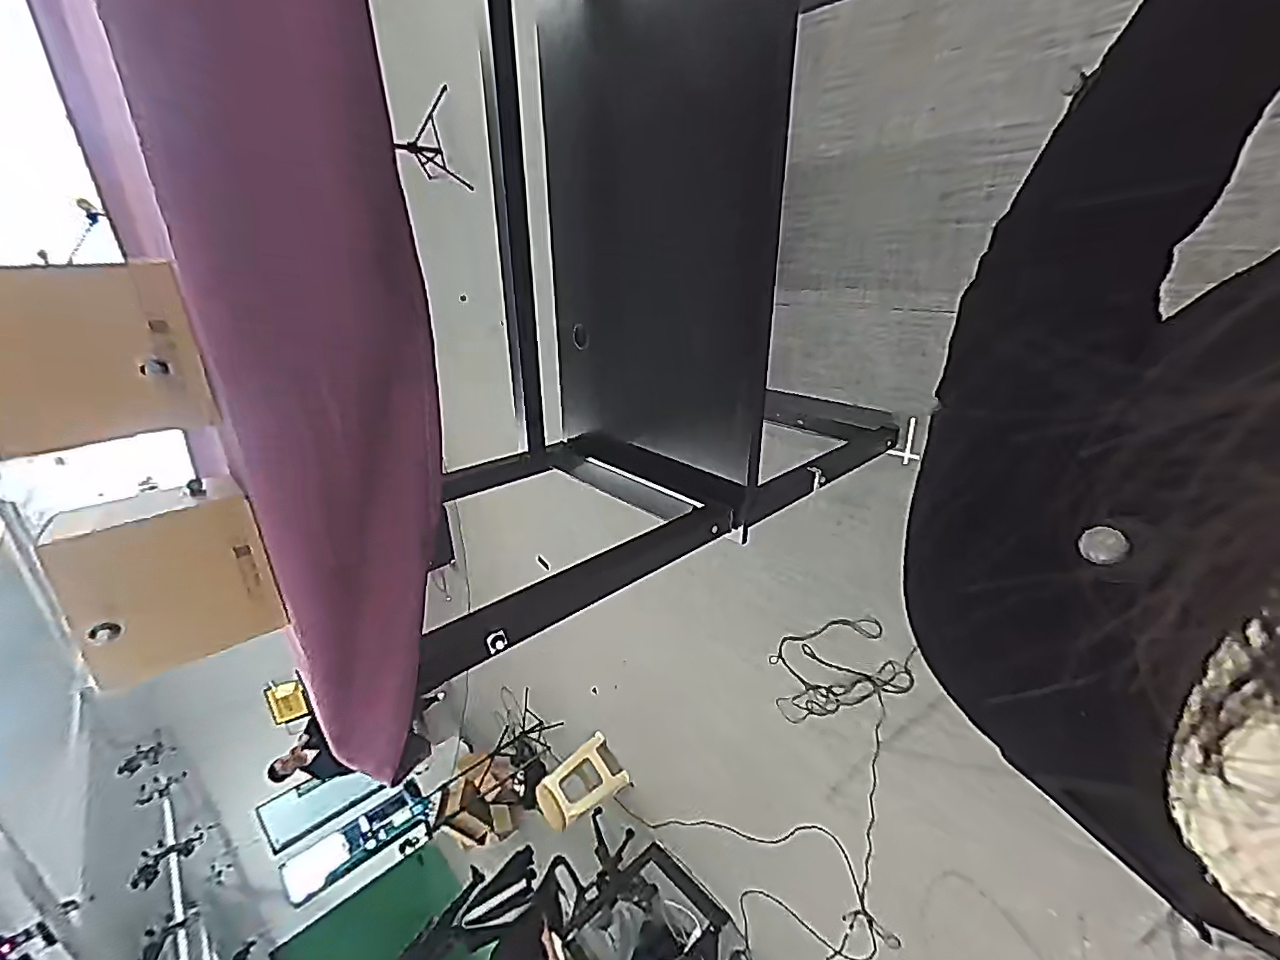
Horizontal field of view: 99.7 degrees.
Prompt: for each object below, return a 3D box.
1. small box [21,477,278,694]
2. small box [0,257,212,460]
[{"bbox_3d":[-0.539,0.101,0.618,0.179,0.176,0.168,12,115,48],"label":"small box"},{"bbox_3d":[-0.567,-0.134,0.550,0.179,0.176,0.168,21,122,43],"label":"small box"}]
